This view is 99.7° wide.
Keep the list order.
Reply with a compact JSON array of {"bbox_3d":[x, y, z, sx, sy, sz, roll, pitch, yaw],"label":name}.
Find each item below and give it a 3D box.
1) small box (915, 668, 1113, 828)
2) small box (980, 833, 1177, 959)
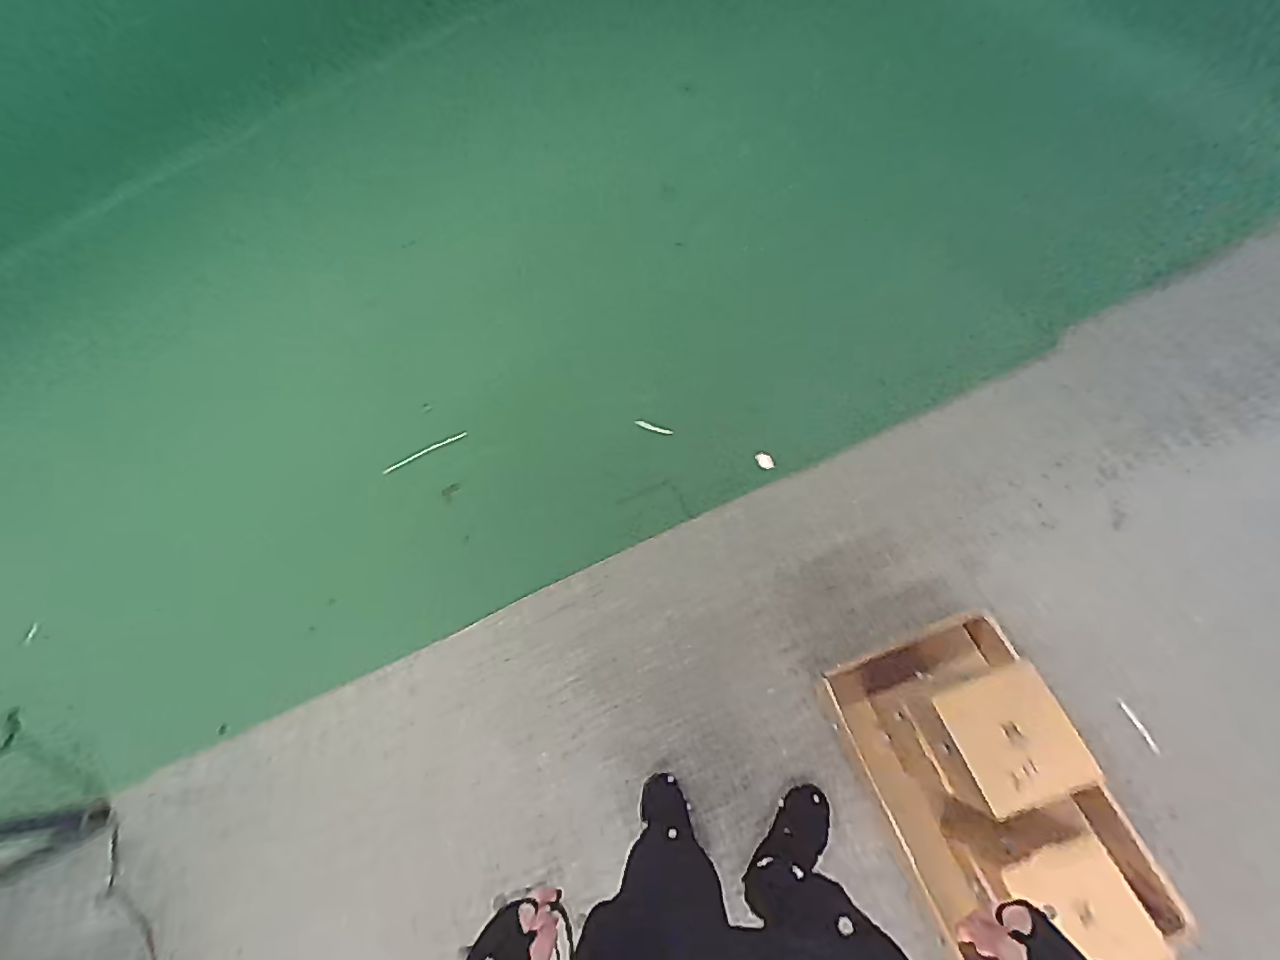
[{"bbox_3d":[0.575,0.420,0.866,0.168,0.176,0.179,-22,65,3],"label":"small box"},{"bbox_3d":[0.708,0.714,0.895,0.168,0.176,0.179,-25,64,4],"label":"small box"}]
